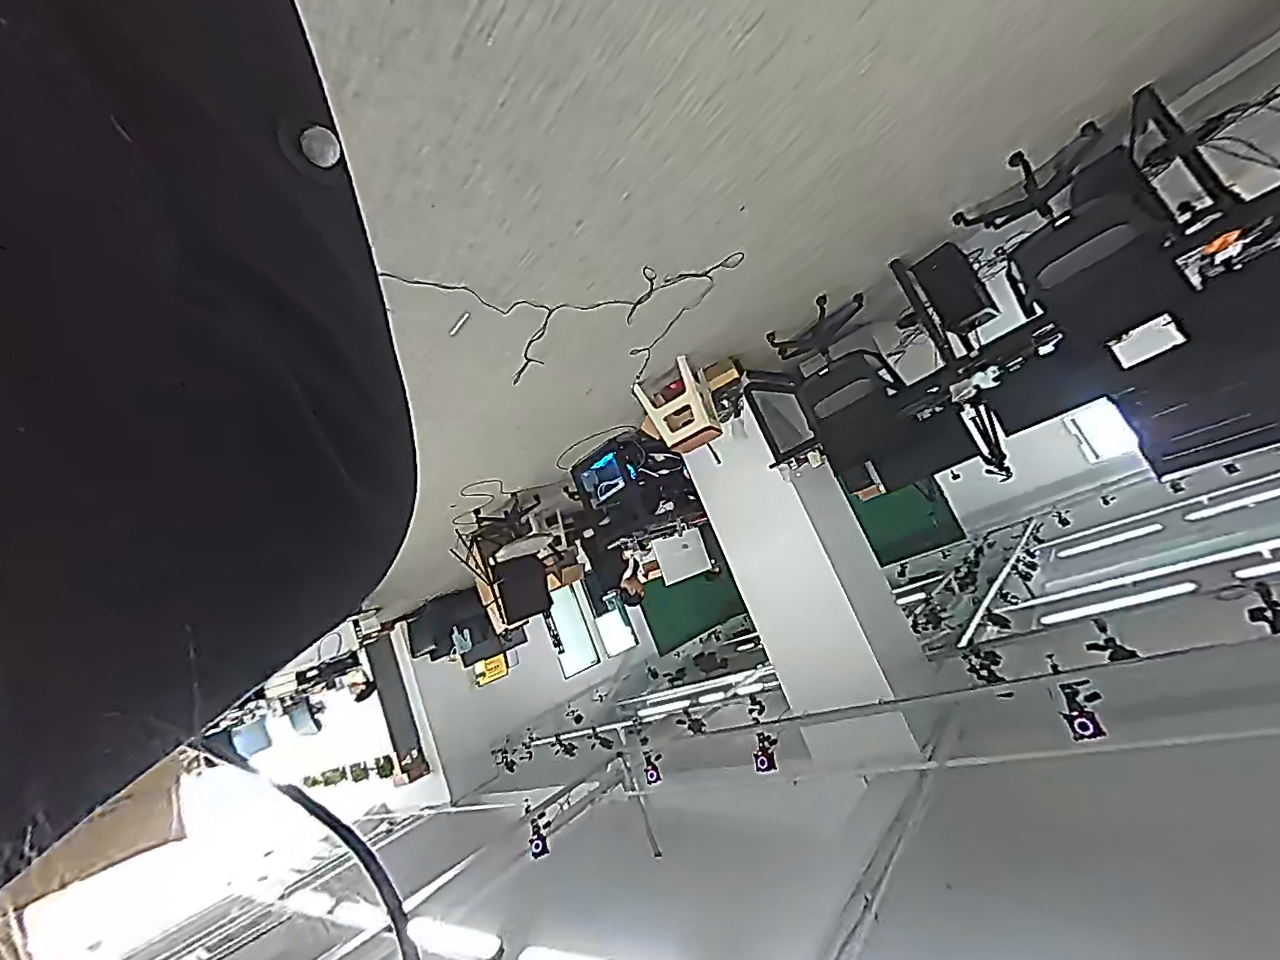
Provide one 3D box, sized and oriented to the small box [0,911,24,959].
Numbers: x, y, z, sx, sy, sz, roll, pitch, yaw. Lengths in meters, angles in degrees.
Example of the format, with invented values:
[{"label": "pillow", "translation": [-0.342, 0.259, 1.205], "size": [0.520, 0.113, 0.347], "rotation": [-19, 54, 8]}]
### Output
[{"label": "small box", "translation": [-1.730, 1.263, 1.404], "size": [0.179, 0.176, 0.168], "rotation": [-32, 166, 37]}]
